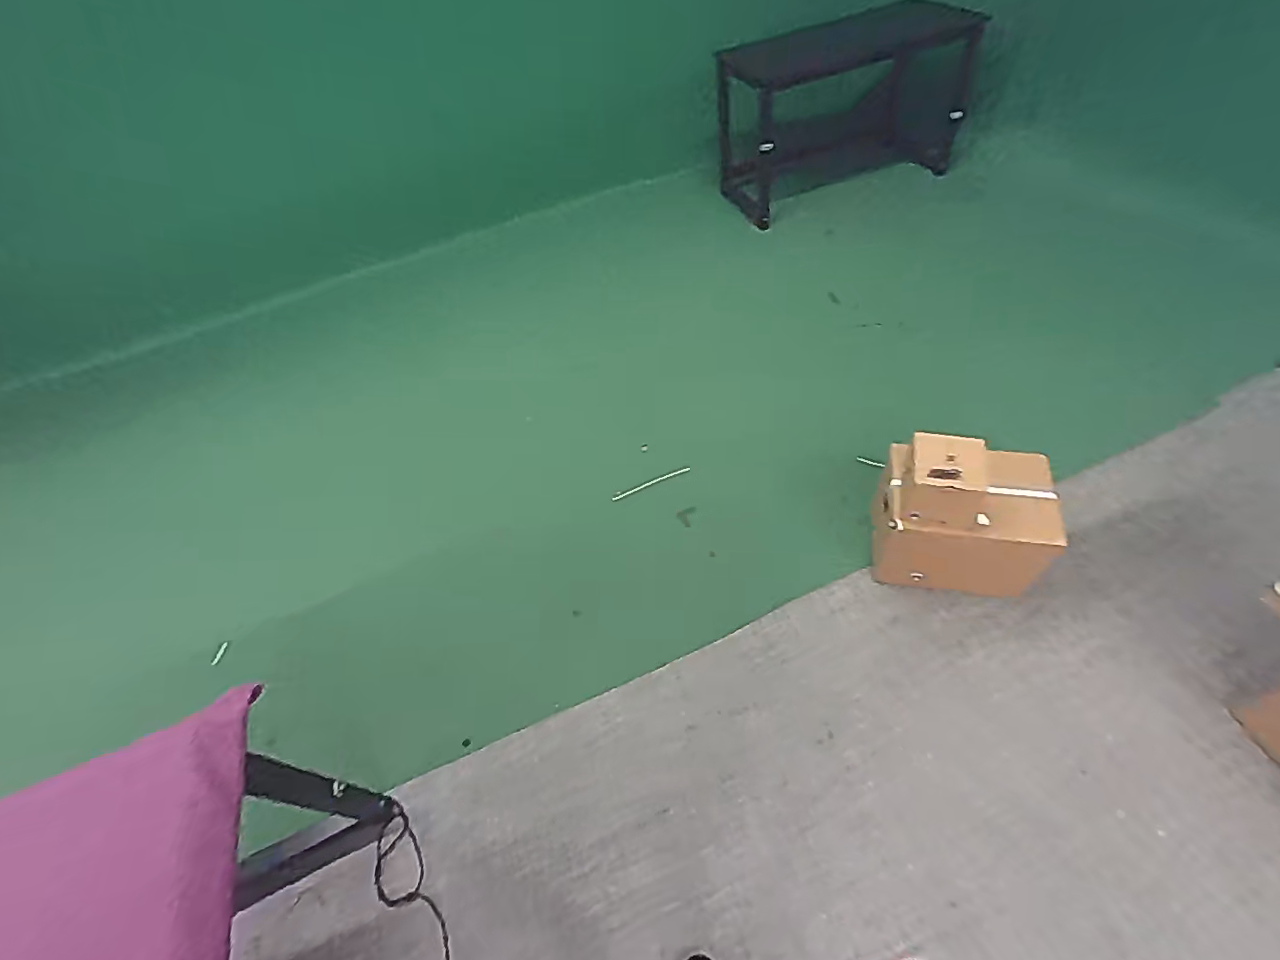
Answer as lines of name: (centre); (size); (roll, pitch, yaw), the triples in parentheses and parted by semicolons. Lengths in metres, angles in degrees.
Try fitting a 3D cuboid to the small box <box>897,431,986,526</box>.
small box: (0.785, -0.002, 1.420); (0.168, 0.176, 0.179); (9, 54, 16)
